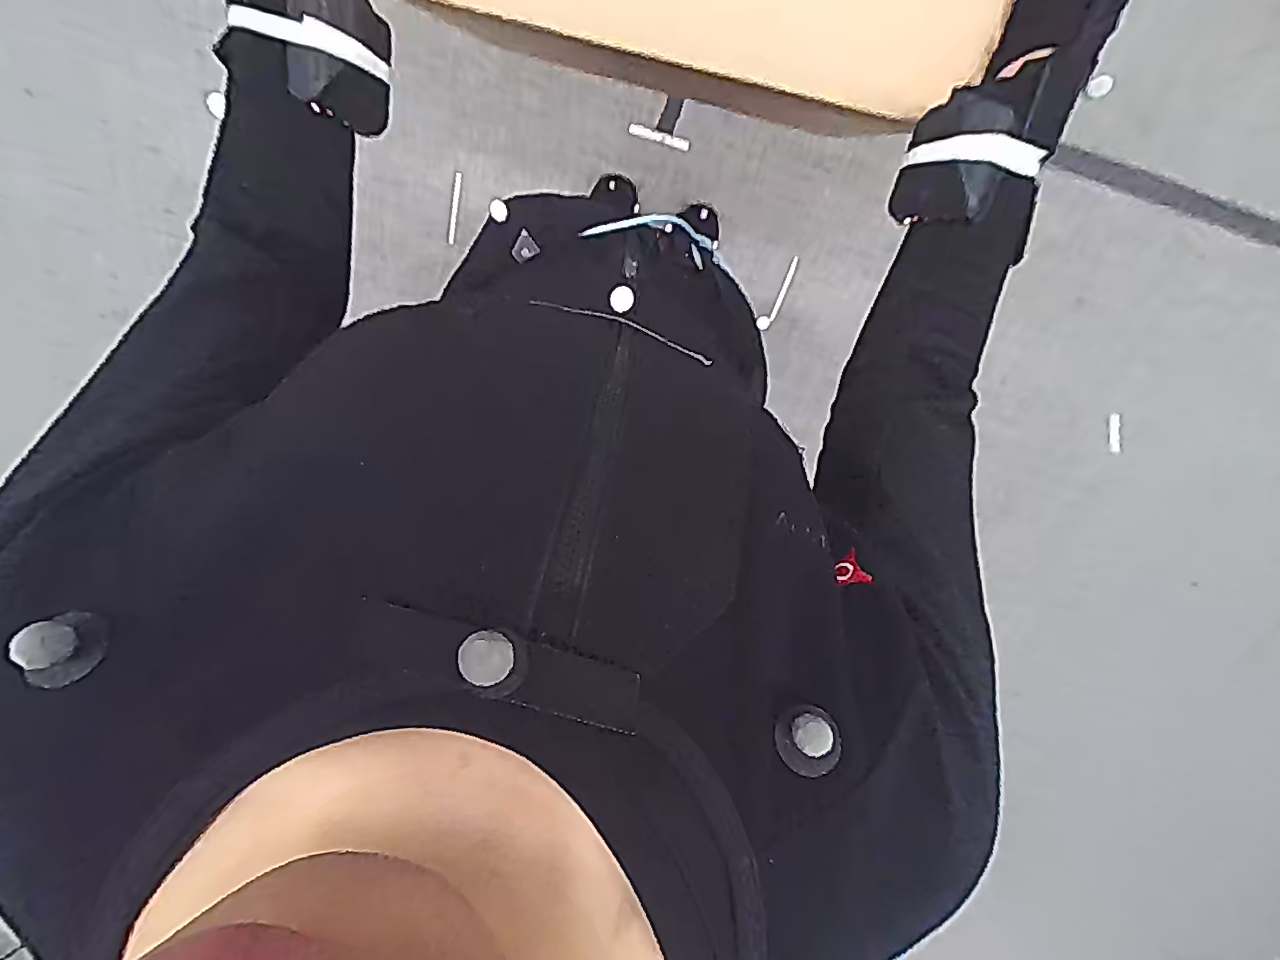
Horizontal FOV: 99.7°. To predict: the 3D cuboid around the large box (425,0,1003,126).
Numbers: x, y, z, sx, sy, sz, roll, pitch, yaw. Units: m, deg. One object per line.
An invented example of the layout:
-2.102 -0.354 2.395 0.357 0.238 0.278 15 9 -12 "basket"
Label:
0.057 -0.489 0.403 0.408 0.320 0.320 12 123 -5 "large box"
